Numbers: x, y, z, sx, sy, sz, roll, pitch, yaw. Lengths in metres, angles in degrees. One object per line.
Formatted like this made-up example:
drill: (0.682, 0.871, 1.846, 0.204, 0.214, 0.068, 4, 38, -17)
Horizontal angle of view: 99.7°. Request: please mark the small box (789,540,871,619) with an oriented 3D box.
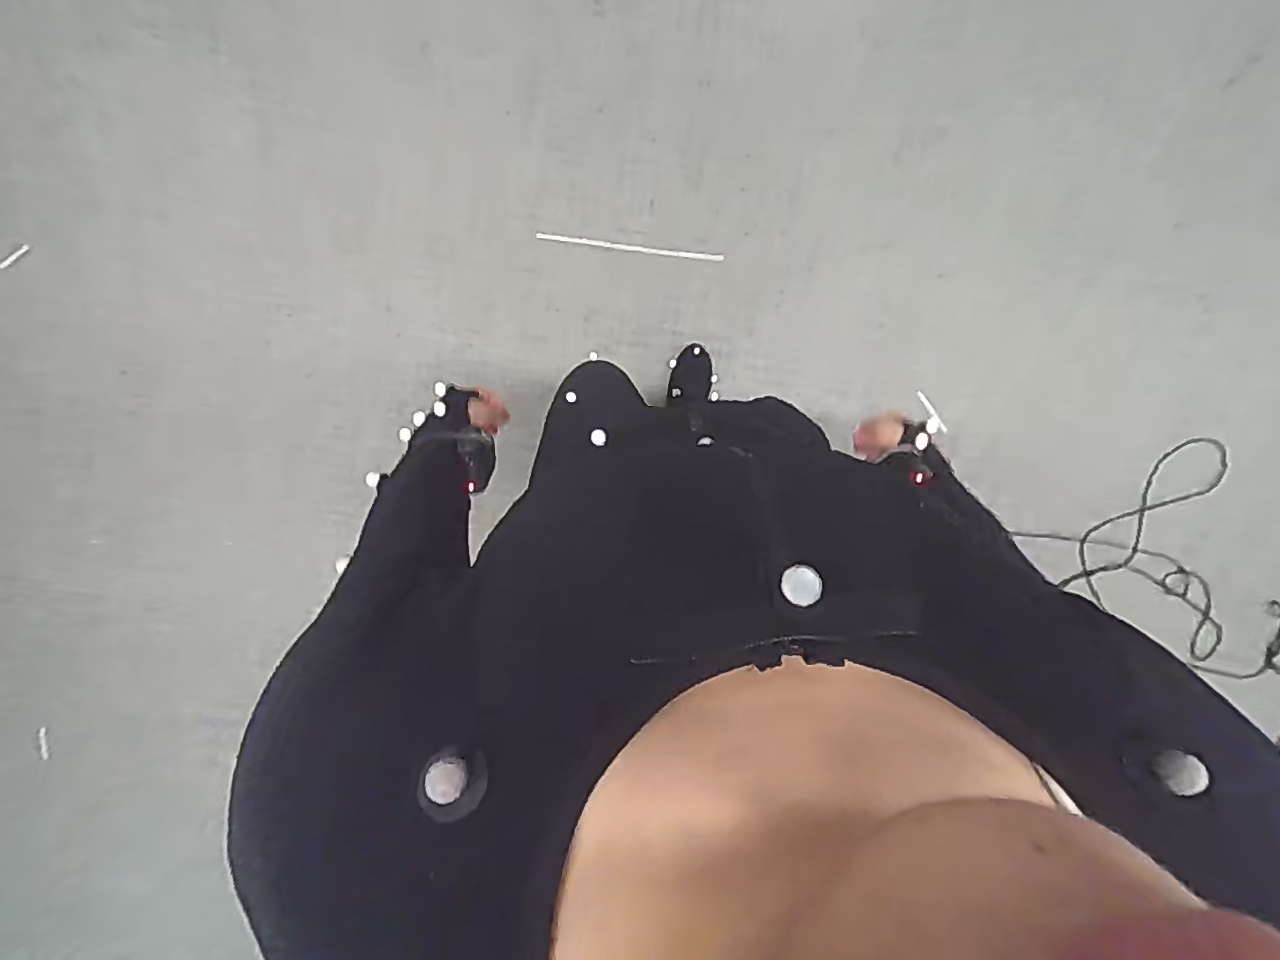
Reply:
small box: (0.504, 0.261, 1.439, 0.179, 0.176, 0.168, 0, 101, 0)
